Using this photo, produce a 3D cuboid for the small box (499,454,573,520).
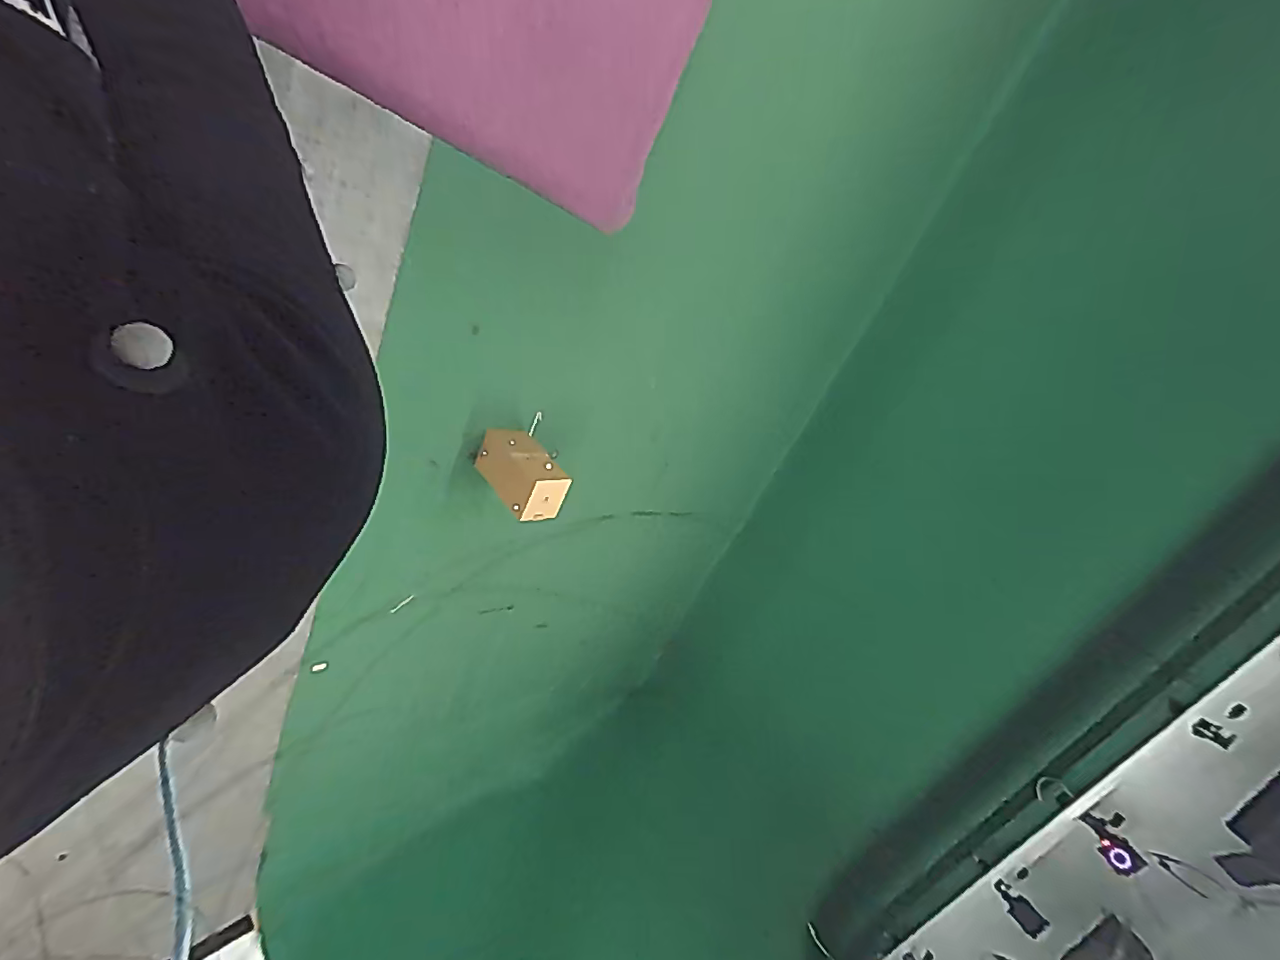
[{"bbox_3d":[-0.379,0.018,1.942,0.168,0.176,0.179,-3,128,-50],"label":"small box"}]
